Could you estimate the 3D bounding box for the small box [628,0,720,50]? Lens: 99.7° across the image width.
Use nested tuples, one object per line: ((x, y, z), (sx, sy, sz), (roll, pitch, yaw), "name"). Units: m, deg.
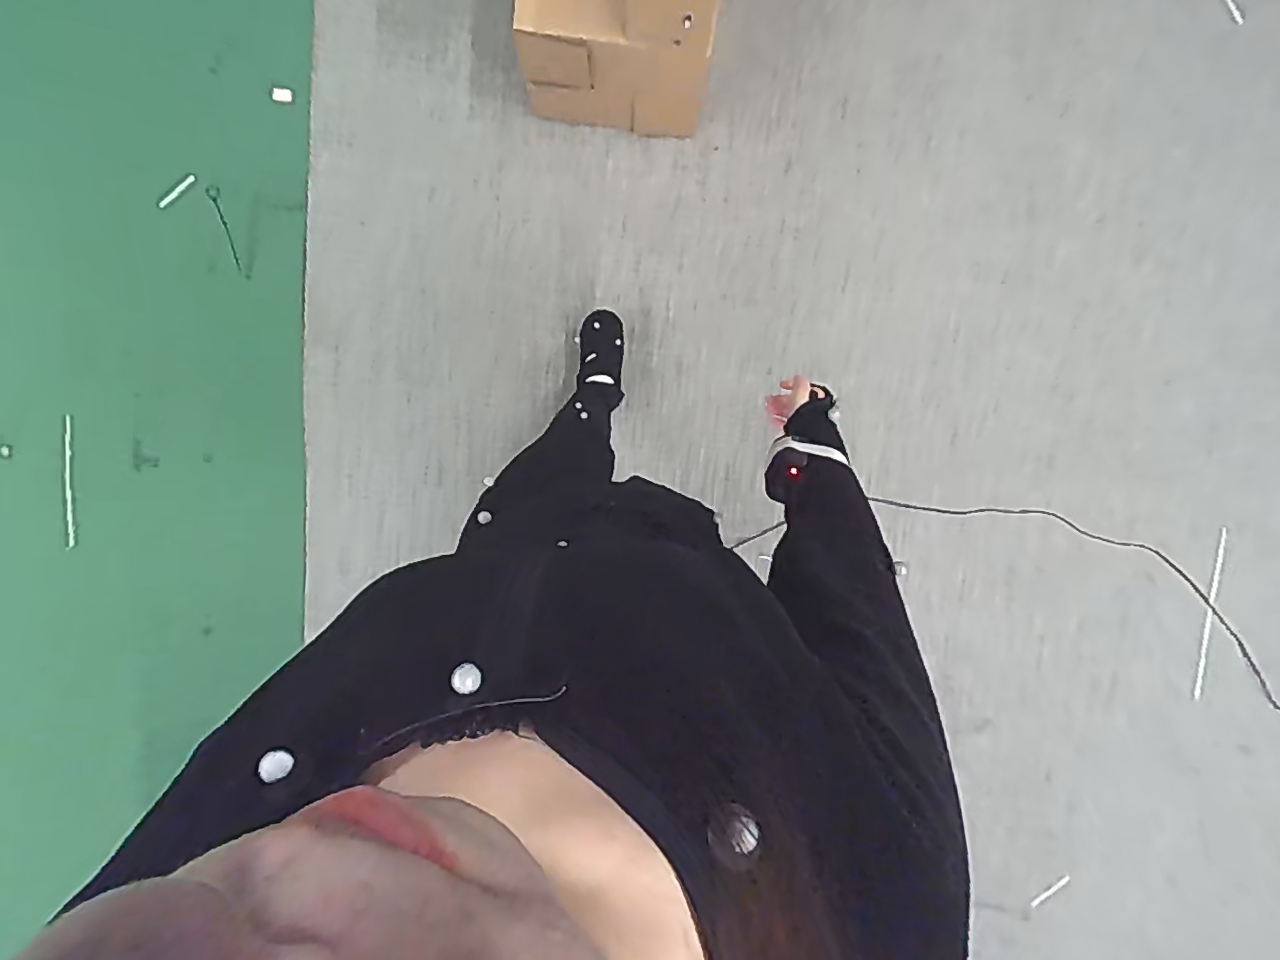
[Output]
((0.073, -0.935, 0.981), (0.168, 0.176, 0.179), (11, 94, -2), "small box")
